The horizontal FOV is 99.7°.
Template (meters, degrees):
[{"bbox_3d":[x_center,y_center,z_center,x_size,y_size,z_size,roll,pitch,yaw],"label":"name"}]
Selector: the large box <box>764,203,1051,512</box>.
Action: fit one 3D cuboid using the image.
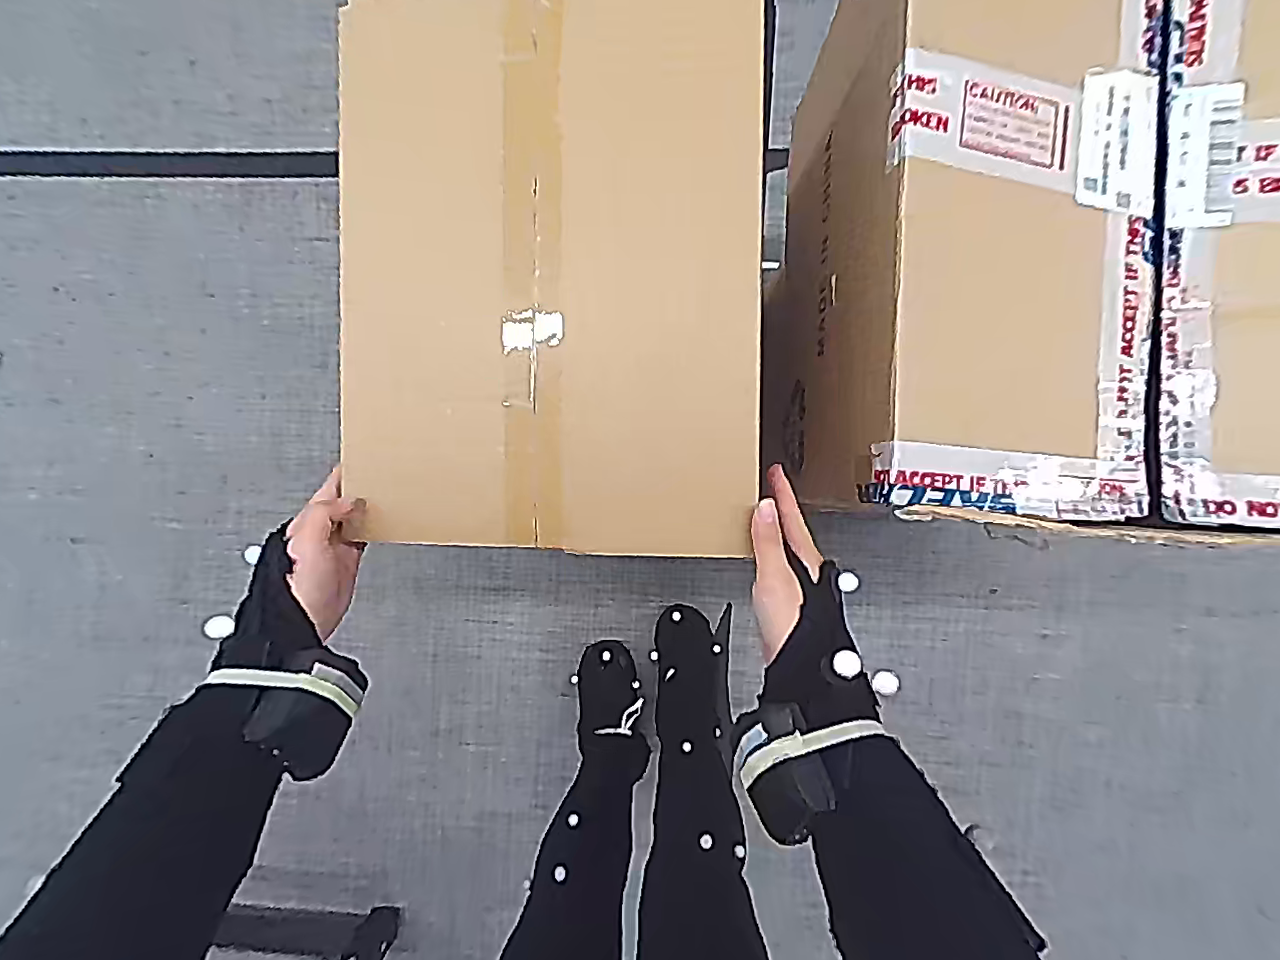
[{"bbox_3d":[0.379,-0.163,0.850,0.320,0.320,0.408,1,91,2],"label":"large box"}]
